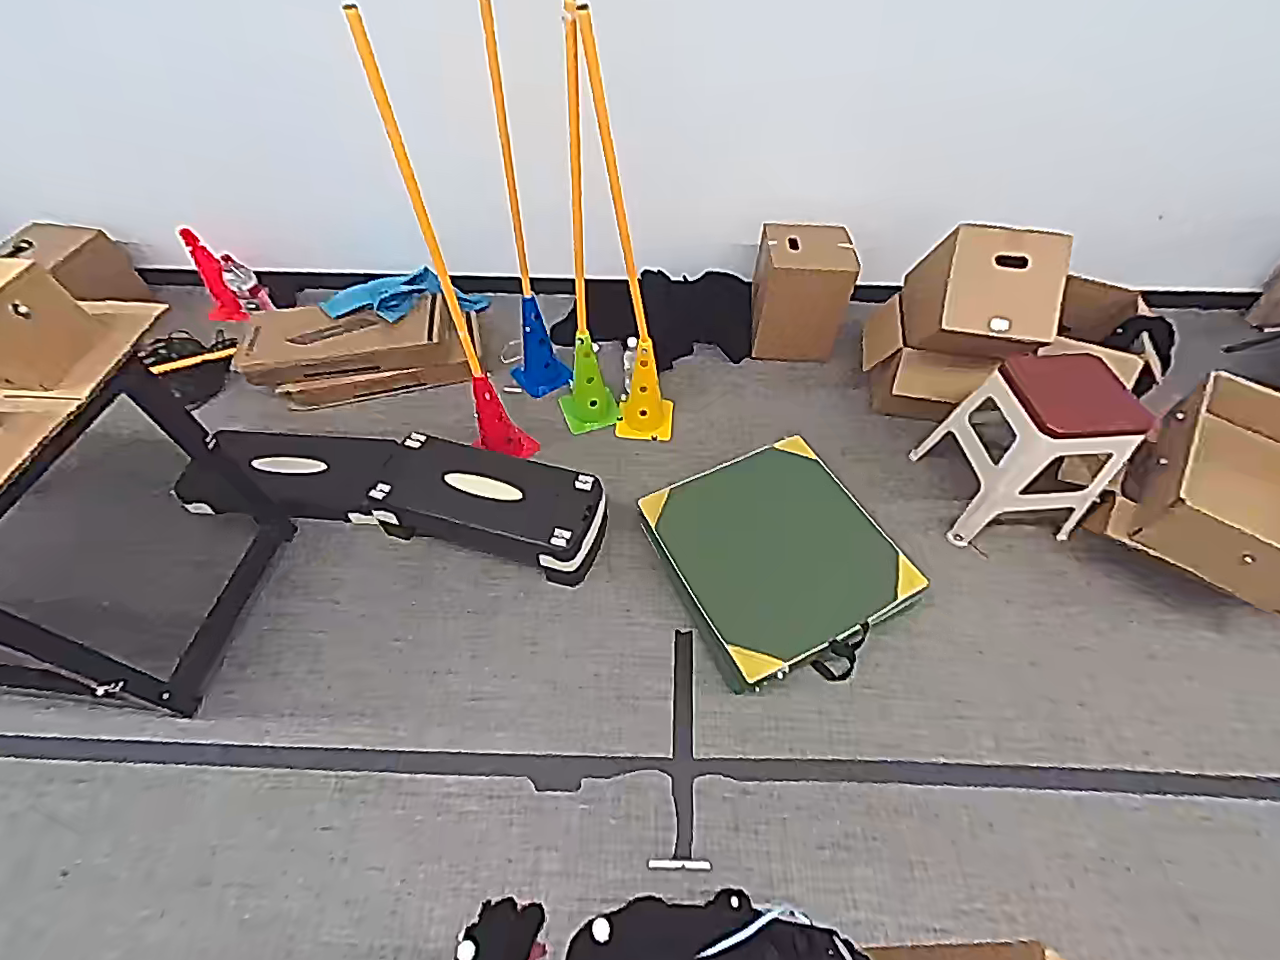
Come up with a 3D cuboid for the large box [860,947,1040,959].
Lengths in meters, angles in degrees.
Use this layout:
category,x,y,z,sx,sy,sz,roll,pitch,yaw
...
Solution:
category,x,y,z,sx,sy,sz,roll,pitch,yaw
large box,0.420,0.793,0.590,0.320,0.408,0.320,32,46,10
